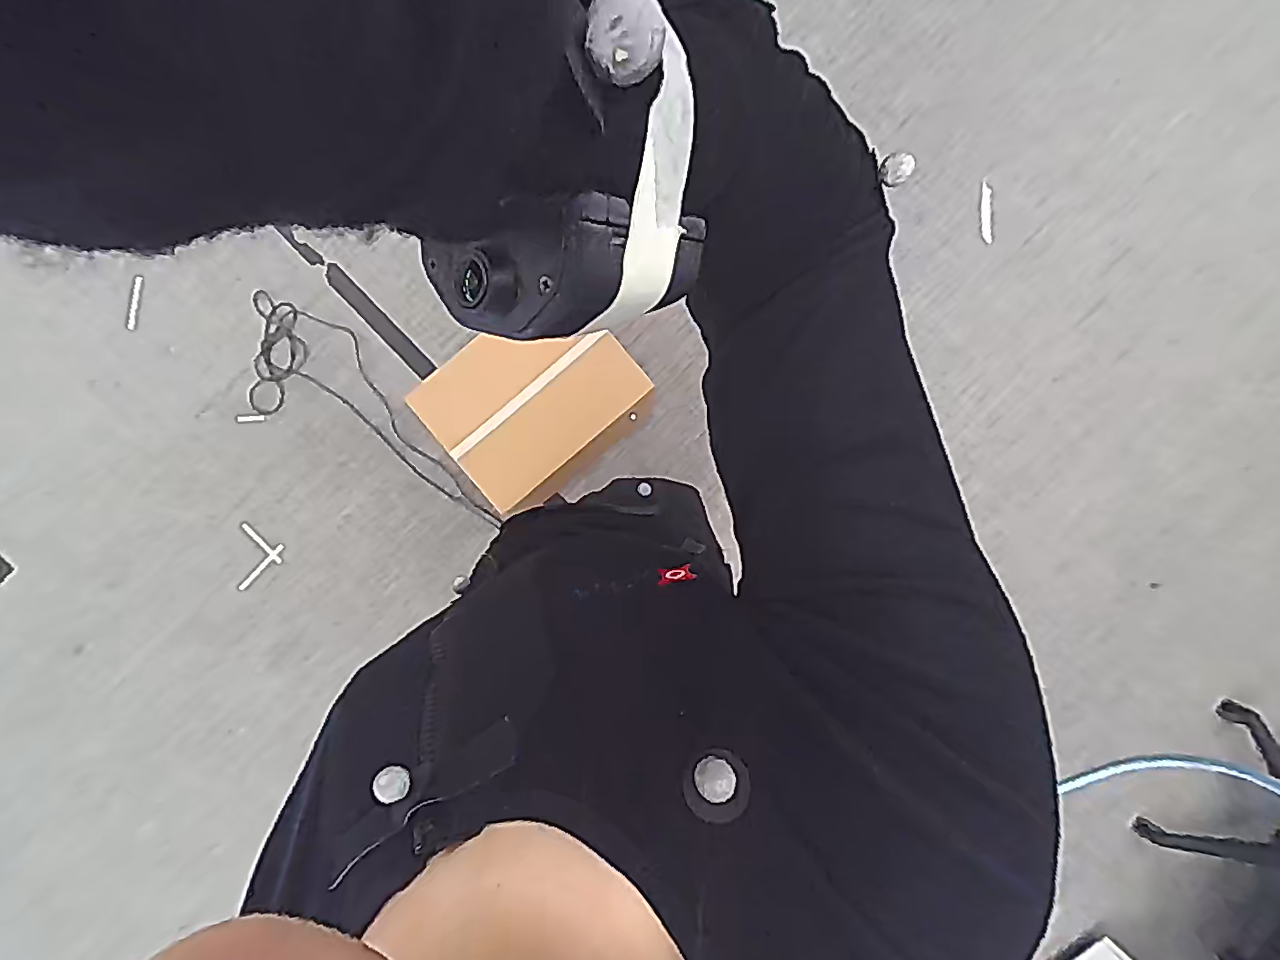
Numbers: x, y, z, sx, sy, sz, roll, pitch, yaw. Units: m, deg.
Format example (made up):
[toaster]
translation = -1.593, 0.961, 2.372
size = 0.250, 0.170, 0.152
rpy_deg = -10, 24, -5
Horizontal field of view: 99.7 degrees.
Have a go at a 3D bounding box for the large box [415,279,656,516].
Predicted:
[large box]
translation = -0.211, -0.167, 1.244
size = 0.408, 0.320, 0.320
rpy_deg = -41, 88, -1
